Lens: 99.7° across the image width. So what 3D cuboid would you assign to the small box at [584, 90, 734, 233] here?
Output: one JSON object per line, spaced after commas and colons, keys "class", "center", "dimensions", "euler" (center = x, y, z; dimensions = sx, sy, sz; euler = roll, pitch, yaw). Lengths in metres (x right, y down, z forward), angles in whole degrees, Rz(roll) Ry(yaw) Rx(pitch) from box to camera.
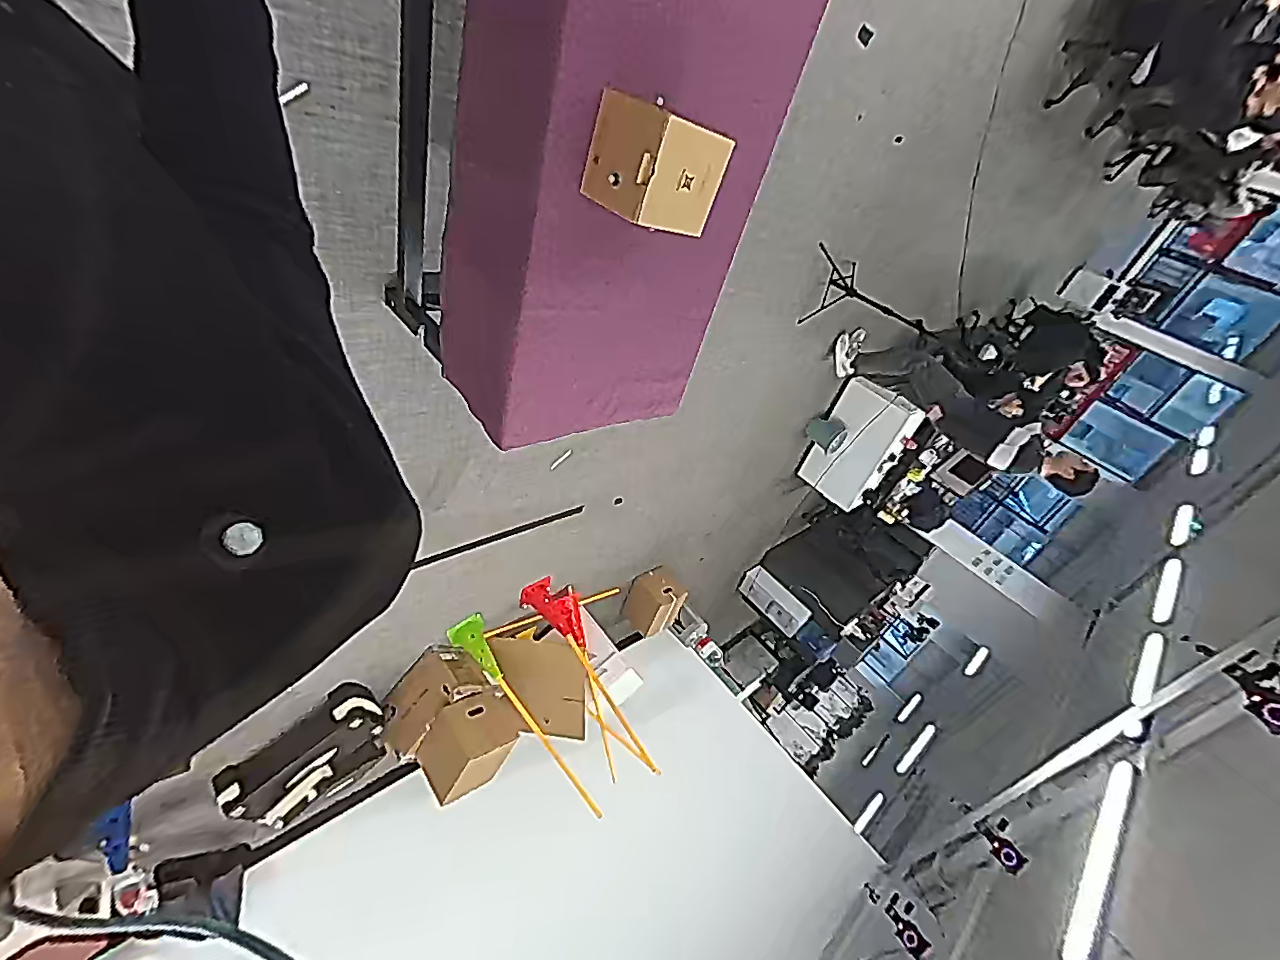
{"class": "small box", "center": [0.027, -0.562, 0.960], "dimensions": [0.179, 0.176, 0.168], "euler": [-16, 139, -44]}
